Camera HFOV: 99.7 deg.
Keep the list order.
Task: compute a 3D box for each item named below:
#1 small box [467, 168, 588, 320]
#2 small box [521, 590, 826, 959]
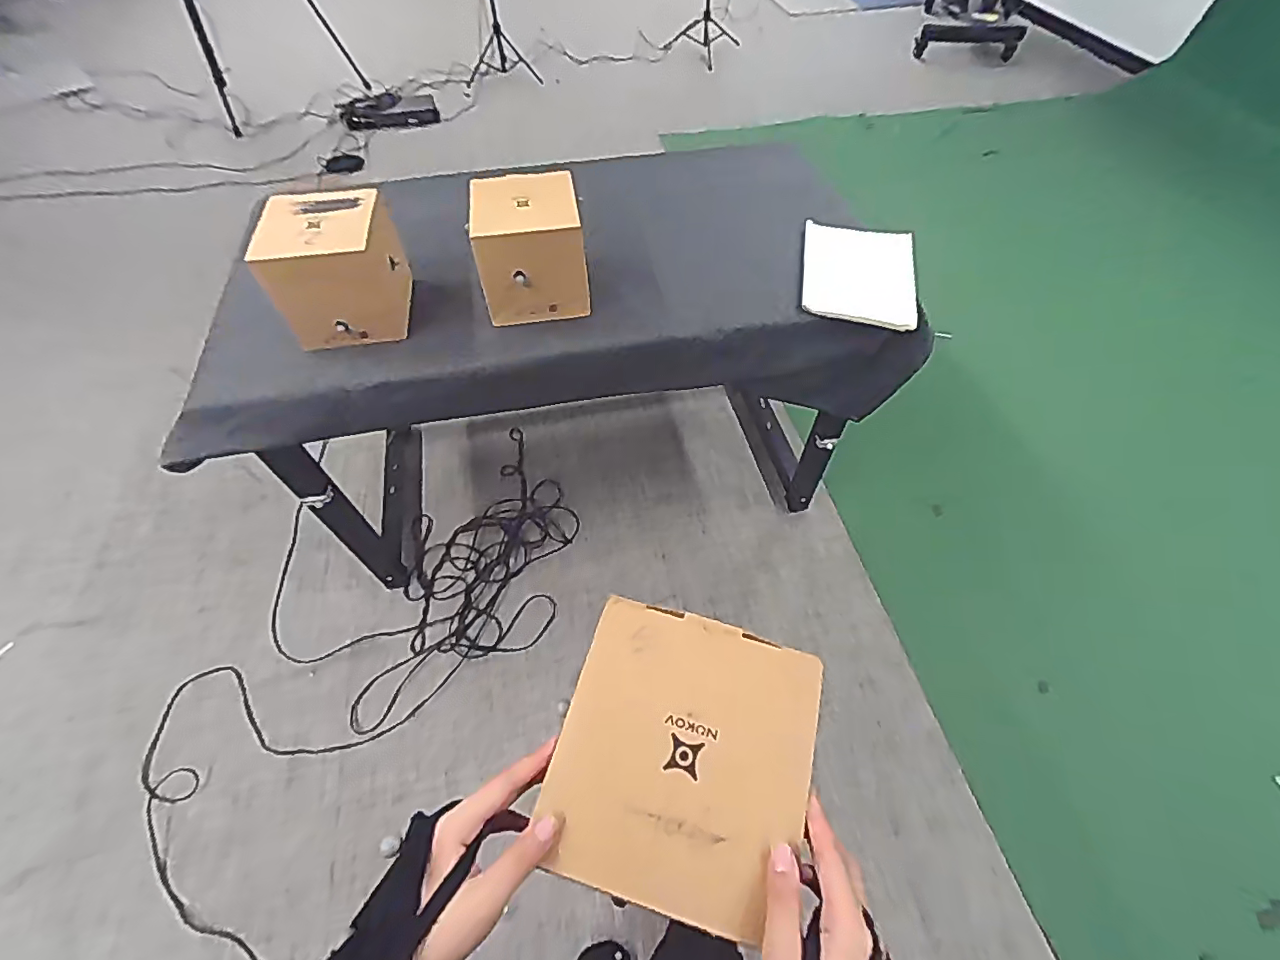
[{"bbox_3d":[-0.182,-0.383,0.898,0.168,0.176,0.179,-9,55,-5],"label":"small box"},{"bbox_3d":[0.026,0.214,0.418,0.168,0.176,0.179,16,60,7],"label":"small box"}]
